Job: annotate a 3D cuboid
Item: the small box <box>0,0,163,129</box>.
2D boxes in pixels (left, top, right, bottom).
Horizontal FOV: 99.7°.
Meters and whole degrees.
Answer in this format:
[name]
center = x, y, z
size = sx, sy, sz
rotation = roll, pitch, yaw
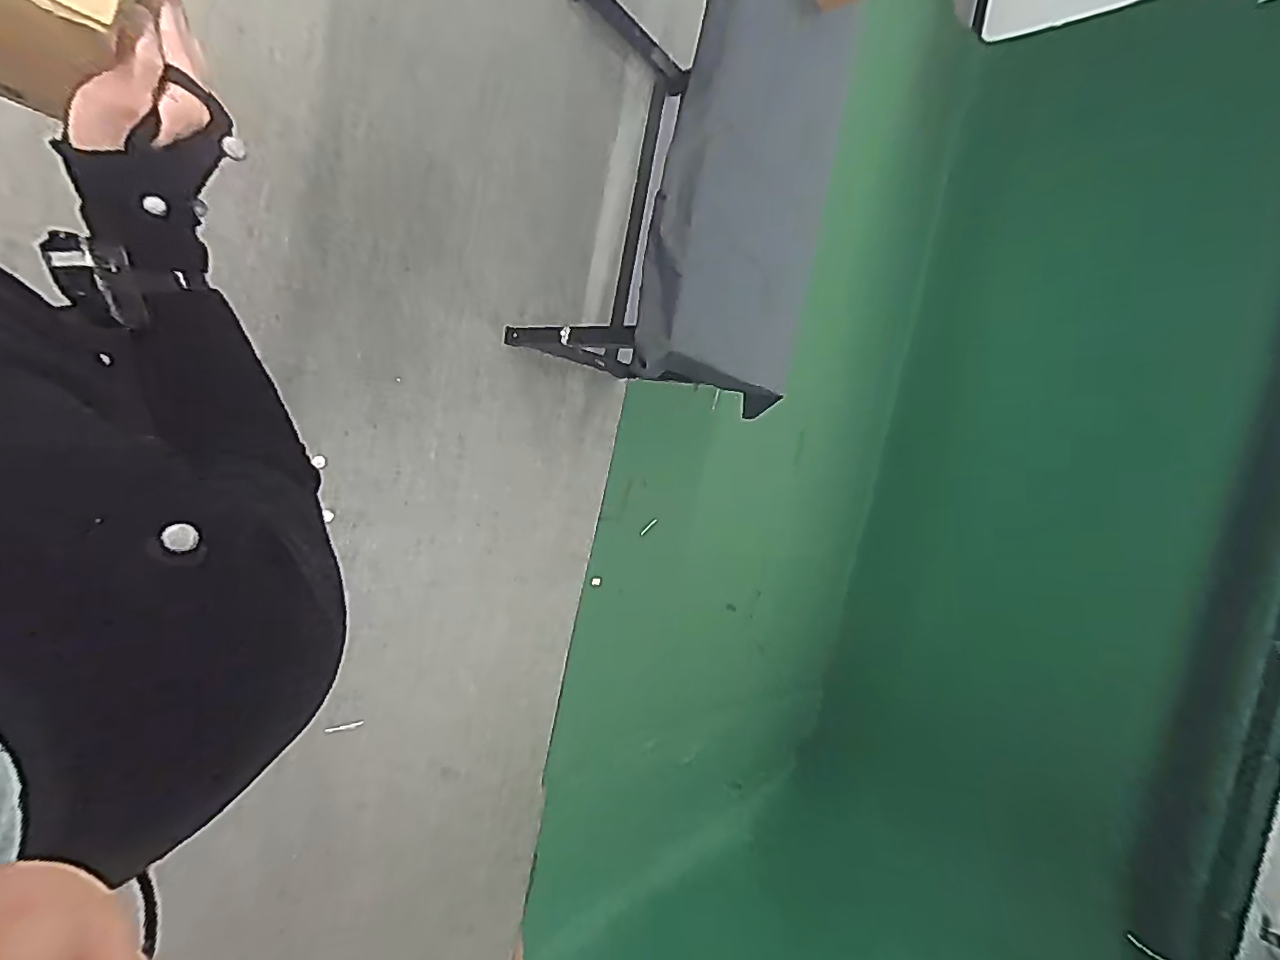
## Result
[small box]
center = -0.381, -0.347, 0.301
size = 0.168, 0.176, 0.179
rotation = 13, 86, -40
